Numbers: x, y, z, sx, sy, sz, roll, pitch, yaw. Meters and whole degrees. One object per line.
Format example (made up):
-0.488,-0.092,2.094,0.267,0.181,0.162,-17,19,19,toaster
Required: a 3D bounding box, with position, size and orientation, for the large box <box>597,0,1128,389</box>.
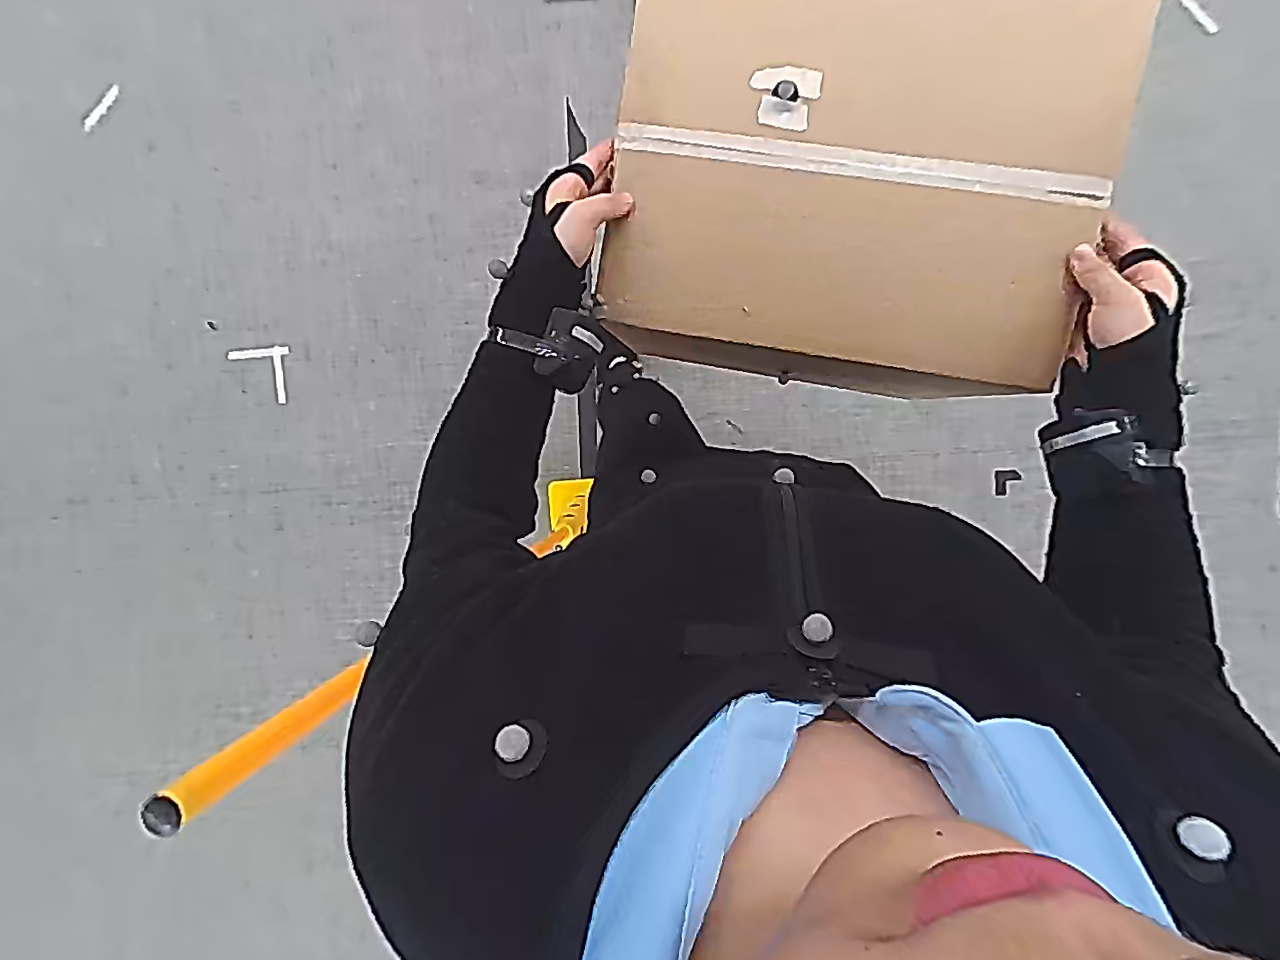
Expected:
0.194,-0.286,0.616,0.408,0.320,0.320,10,97,5,large box
